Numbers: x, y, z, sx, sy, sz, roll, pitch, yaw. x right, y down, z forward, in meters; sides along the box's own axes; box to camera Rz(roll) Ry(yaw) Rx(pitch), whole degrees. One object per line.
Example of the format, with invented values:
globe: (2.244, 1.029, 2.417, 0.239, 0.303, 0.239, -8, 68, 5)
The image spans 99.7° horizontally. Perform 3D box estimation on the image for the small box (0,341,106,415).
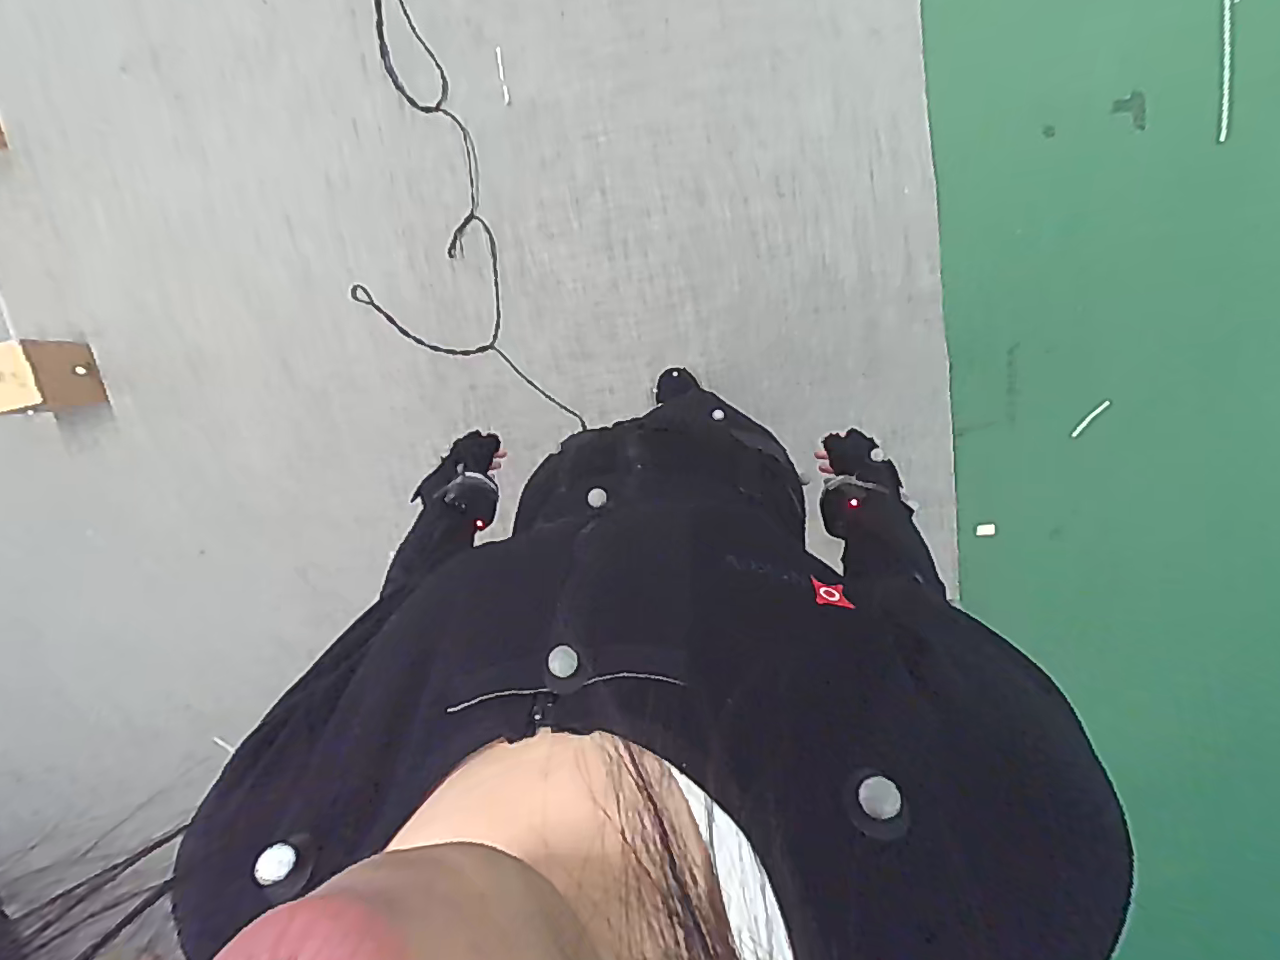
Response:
small box: (-1.615, -0.270, 1.450, 0.179, 0.176, 0.168, -10, 101, 5)
